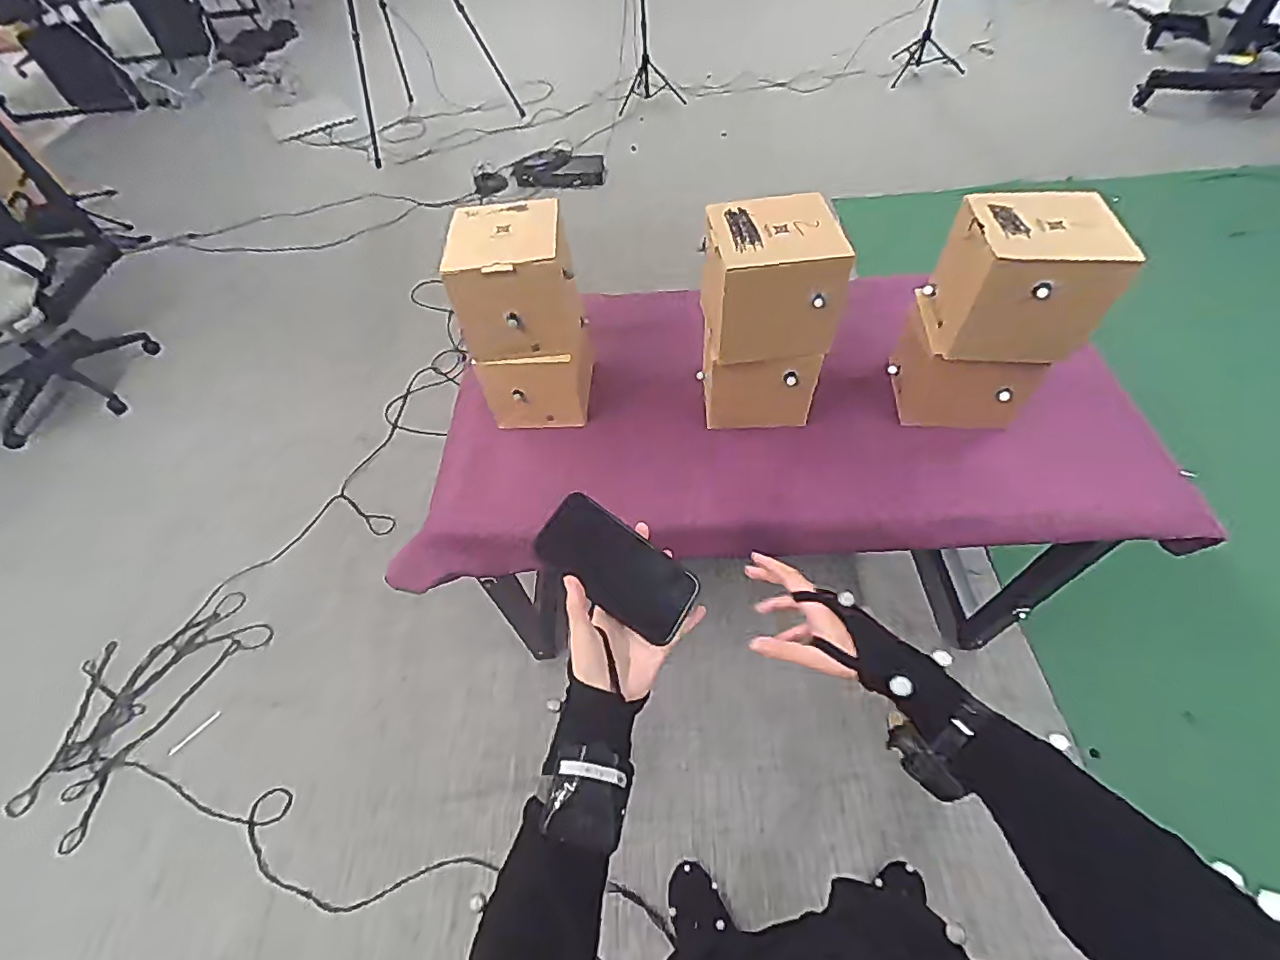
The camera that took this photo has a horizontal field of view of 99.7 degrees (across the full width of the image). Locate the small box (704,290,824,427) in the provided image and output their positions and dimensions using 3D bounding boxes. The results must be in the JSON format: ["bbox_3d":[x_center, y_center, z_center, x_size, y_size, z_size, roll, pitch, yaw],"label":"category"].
[{"bbox_3d":[0.205,-0.208,0.945,0.179,0.176,0.168,-2,54,5],"label":"small box"}]

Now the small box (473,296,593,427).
[{"bbox_3d":[-0.184,-0.209,0.988,0.168,0.176,0.179,-2,54,5],"label":"small box"}]

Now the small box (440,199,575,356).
[{"bbox_3d":[-0.197,-0.312,0.860,0.168,0.176,0.179,-5,54,1],"label":"small box"}]

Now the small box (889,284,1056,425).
[{"bbox_3d":[0.544,-0.208,0.912,0.179,0.176,0.168,3,54,8],"label":"small box"}]

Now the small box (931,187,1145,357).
[{"bbox_3d":[0.539,-0.292,0.771,0.179,0.176,0.168,3,54,7],"label":"small box"}]
